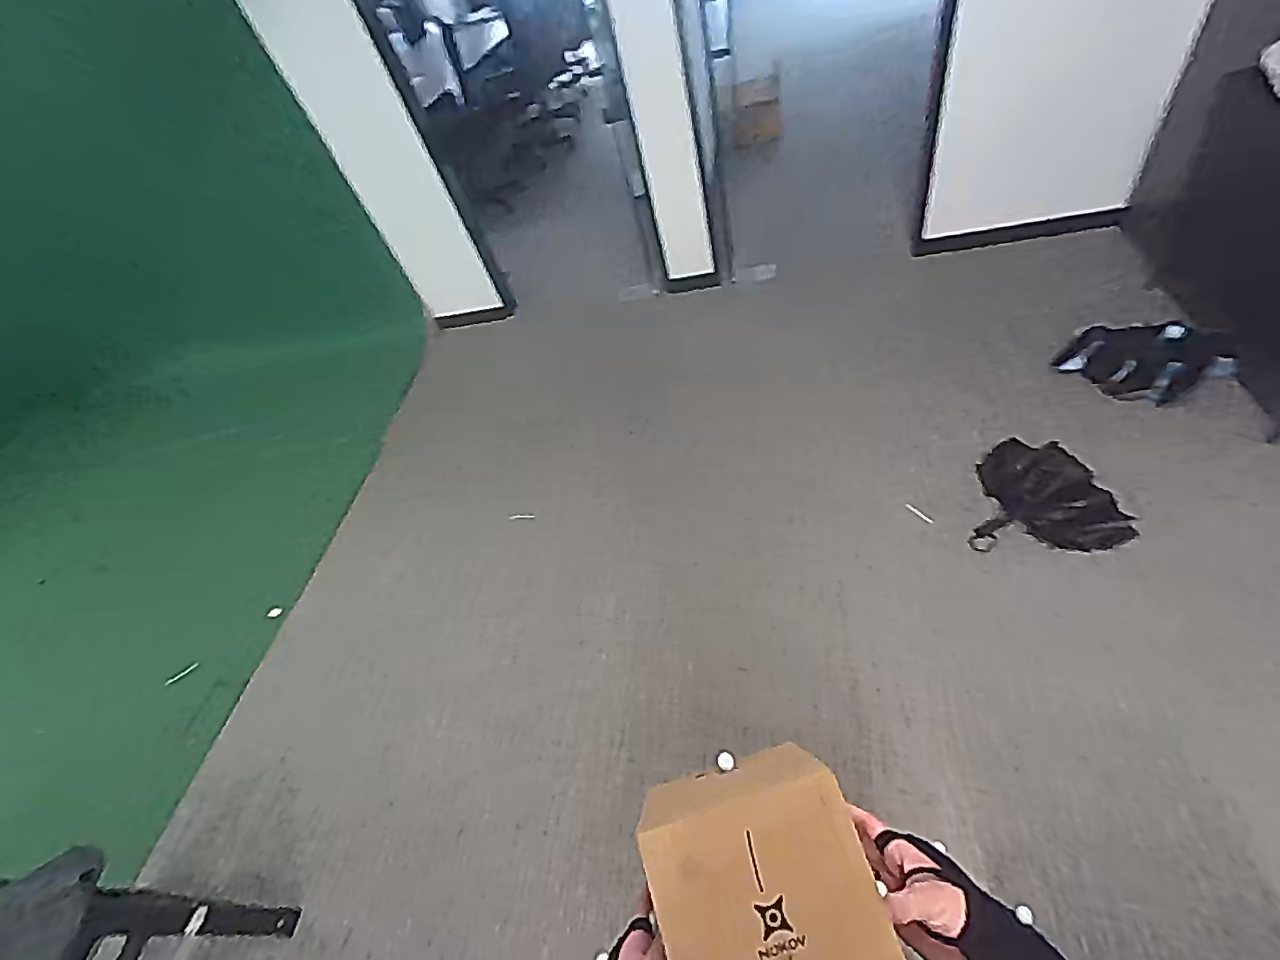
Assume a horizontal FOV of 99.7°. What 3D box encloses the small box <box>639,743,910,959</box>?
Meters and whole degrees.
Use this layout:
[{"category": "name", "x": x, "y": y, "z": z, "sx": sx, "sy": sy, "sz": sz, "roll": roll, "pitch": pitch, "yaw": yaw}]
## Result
[{"category": "small box", "x": 0.106, "y": 0.351, "z": 0.470, "sx": 0.168, "sy": 0.176, "sz": 0.179, "roll": -18, "pitch": 69, "yaw": -4}]
